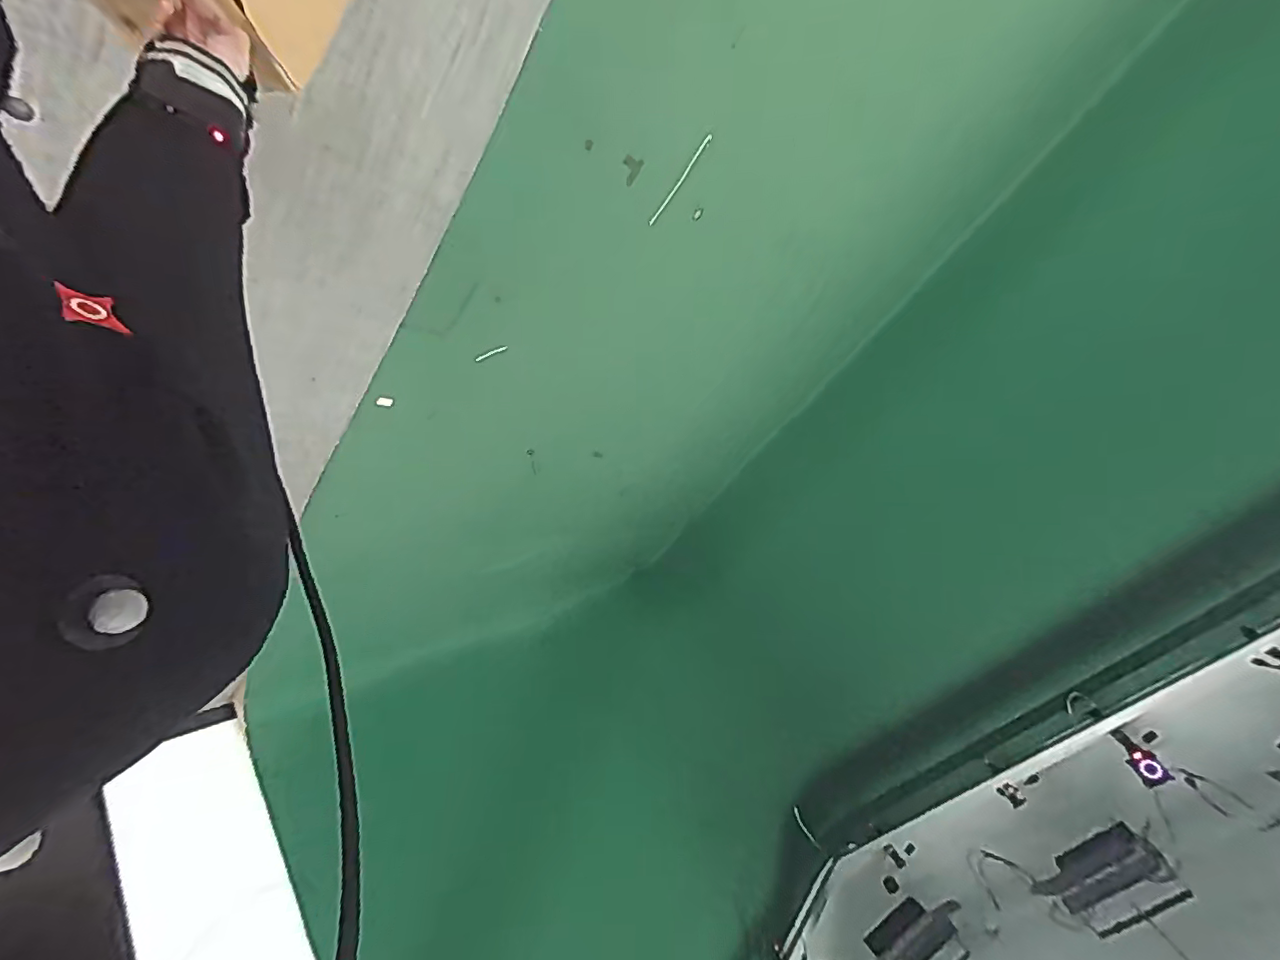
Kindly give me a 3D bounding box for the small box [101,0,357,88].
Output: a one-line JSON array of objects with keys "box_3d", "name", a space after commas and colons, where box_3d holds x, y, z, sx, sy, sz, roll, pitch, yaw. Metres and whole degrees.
[{"box_3d": [-0.407, -0.508, 0.503, 0.168, 0.176, 0.179, 77, 23, -70], "name": "small box"}]
